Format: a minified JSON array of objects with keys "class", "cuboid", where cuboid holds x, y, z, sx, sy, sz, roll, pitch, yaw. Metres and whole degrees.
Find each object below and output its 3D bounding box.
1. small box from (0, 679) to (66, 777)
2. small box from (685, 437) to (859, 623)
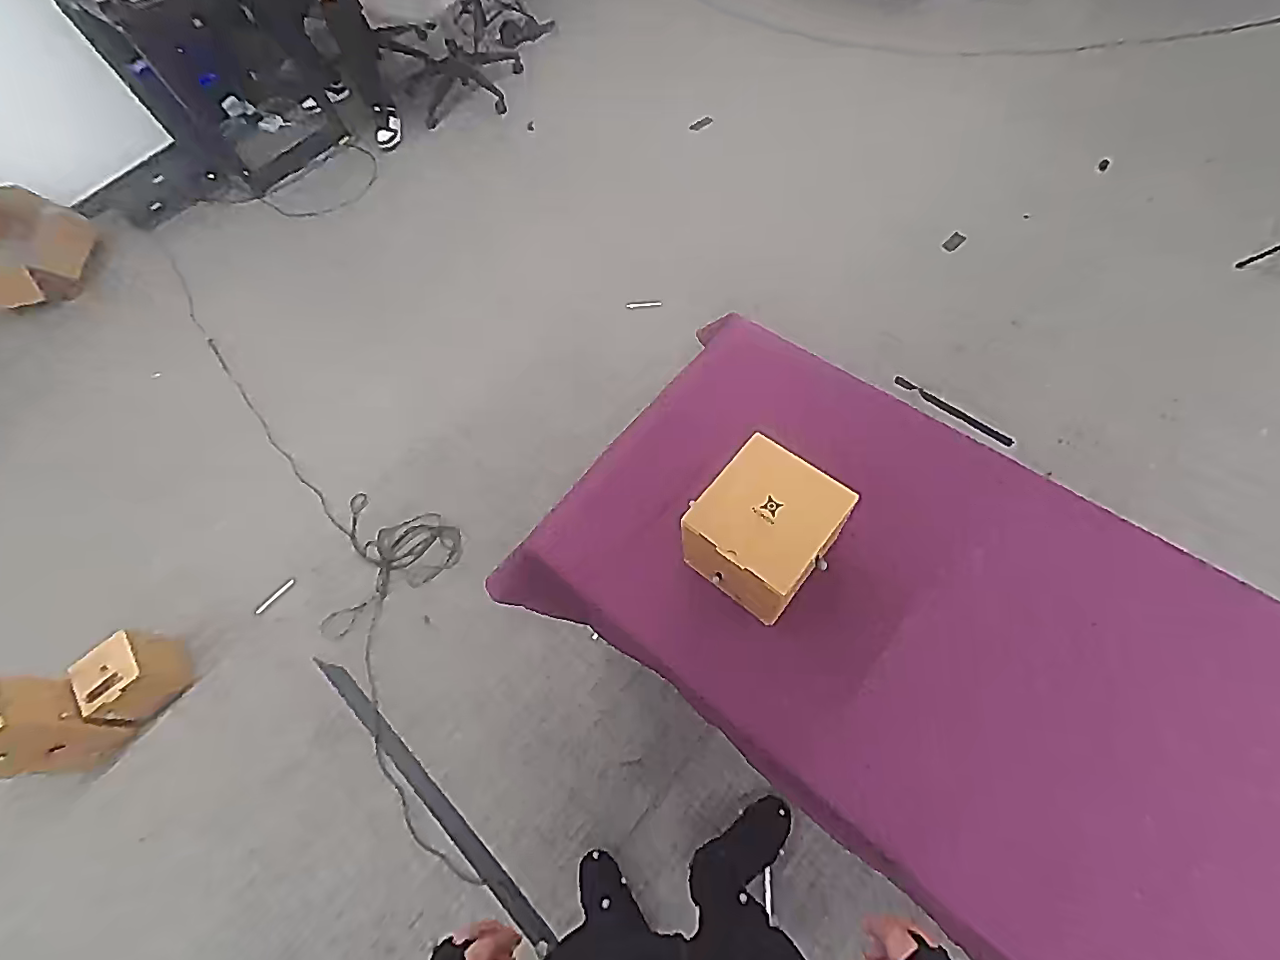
[{"class":"small box","cuboid":[-1.605,0.618,1.352,0.179,0.176,0.168,-43,66,-13]},{"class":"small box","cuboid":[0.180,0.078,0.783,0.168,0.176,0.179,36,73,21]}]
